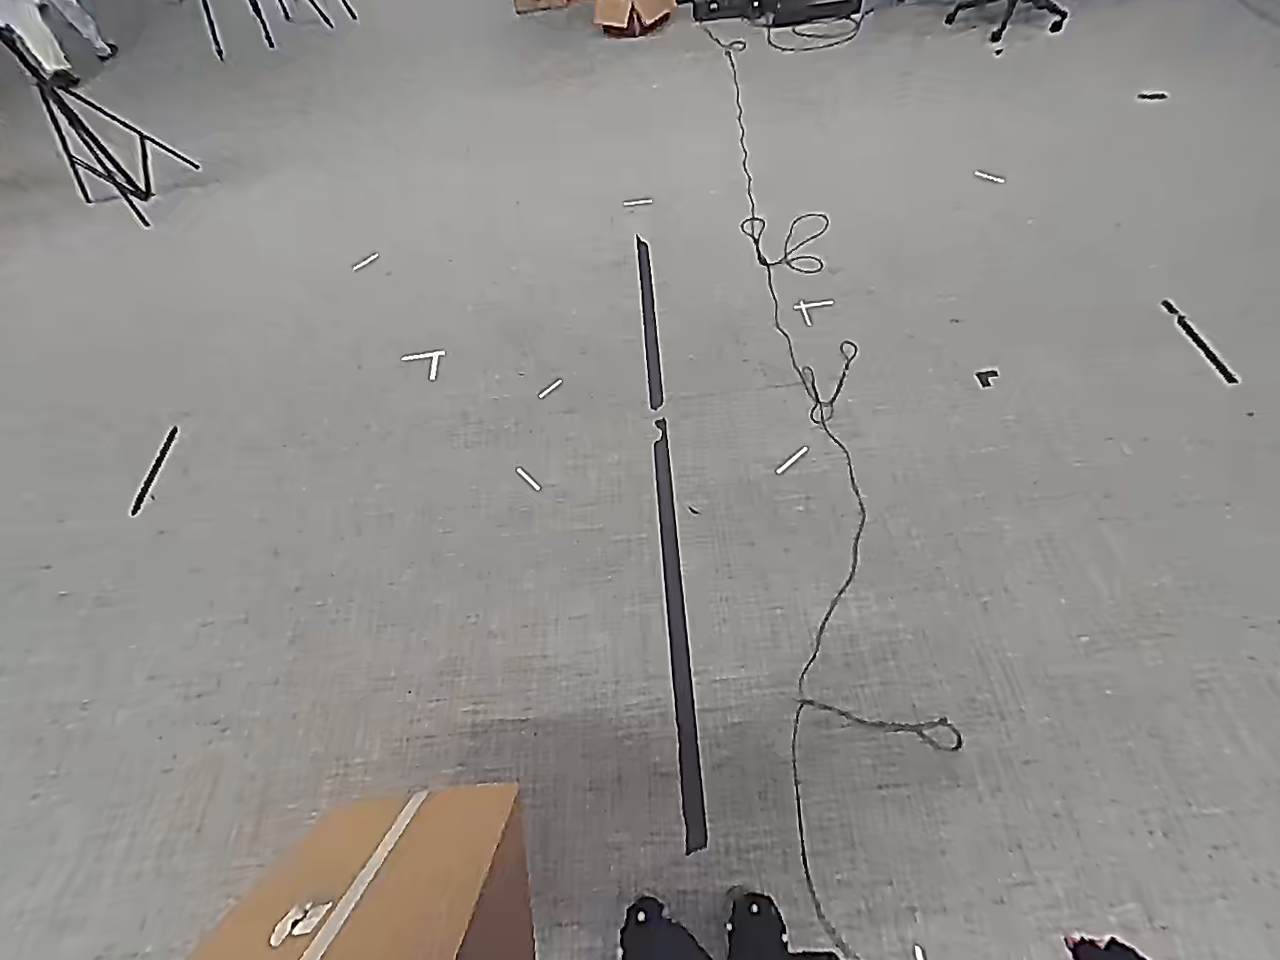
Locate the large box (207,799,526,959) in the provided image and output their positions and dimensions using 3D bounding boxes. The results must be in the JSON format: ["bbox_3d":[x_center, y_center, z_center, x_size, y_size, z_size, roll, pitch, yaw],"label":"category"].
[{"bbox_3d":[-0.335,0.687,0.692,0.320,0.408,0.320,-6,89,-2],"label":"large box"}]
